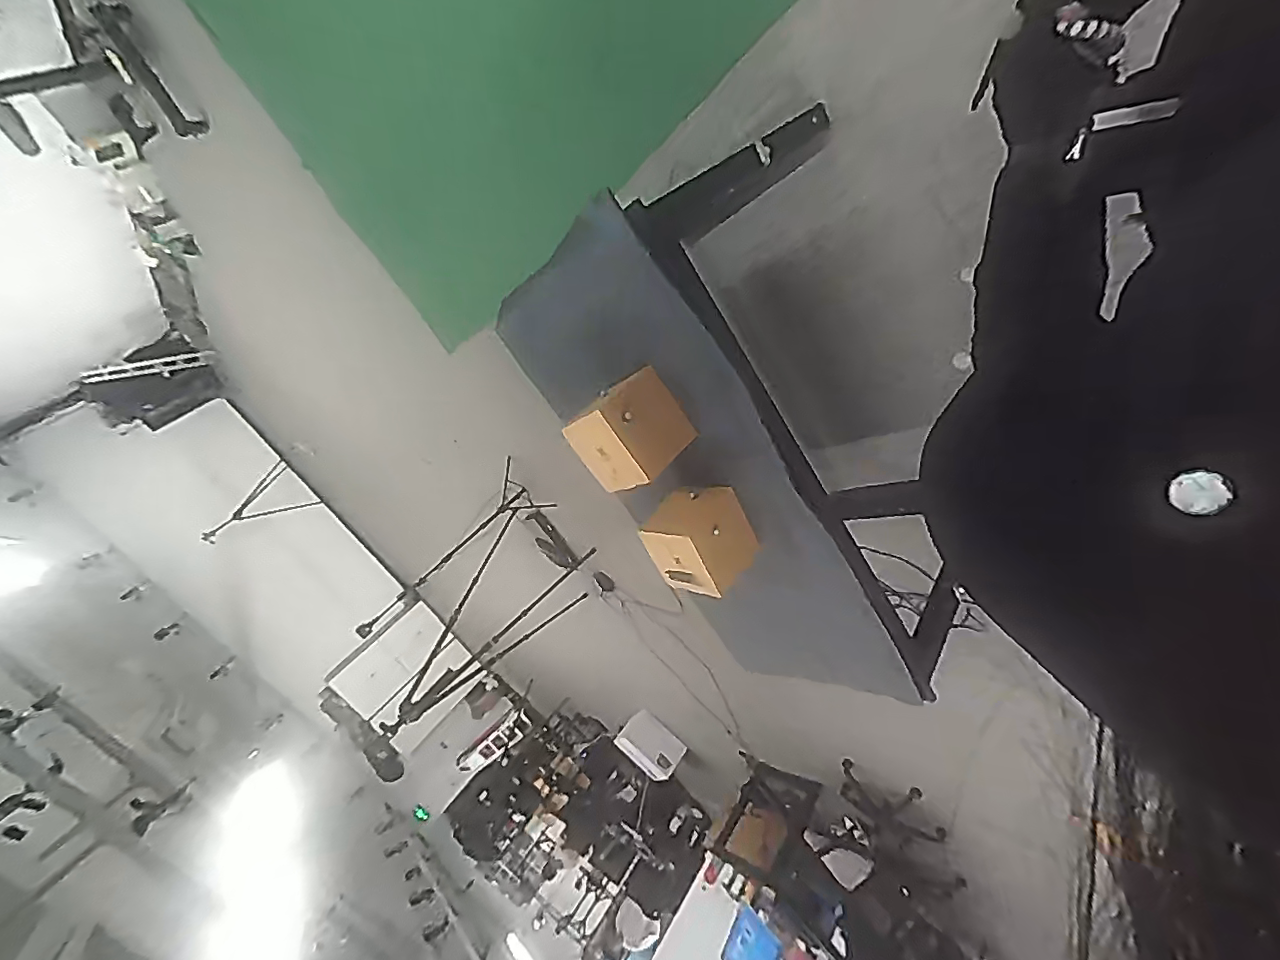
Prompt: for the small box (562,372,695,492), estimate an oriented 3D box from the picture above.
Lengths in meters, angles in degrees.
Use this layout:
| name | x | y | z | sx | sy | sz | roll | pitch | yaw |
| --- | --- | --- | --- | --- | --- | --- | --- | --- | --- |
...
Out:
| name | x | y | z | sx | sy | sz | roll | pitch | yaw |
| --- | --- | --- | --- | --- | --- | --- | --- | --- | --- |
| small box | -0.021 | -0.102 | 1.118 | 0.179 | 0.176 | 0.168 | 53 | 147 | -14 |
